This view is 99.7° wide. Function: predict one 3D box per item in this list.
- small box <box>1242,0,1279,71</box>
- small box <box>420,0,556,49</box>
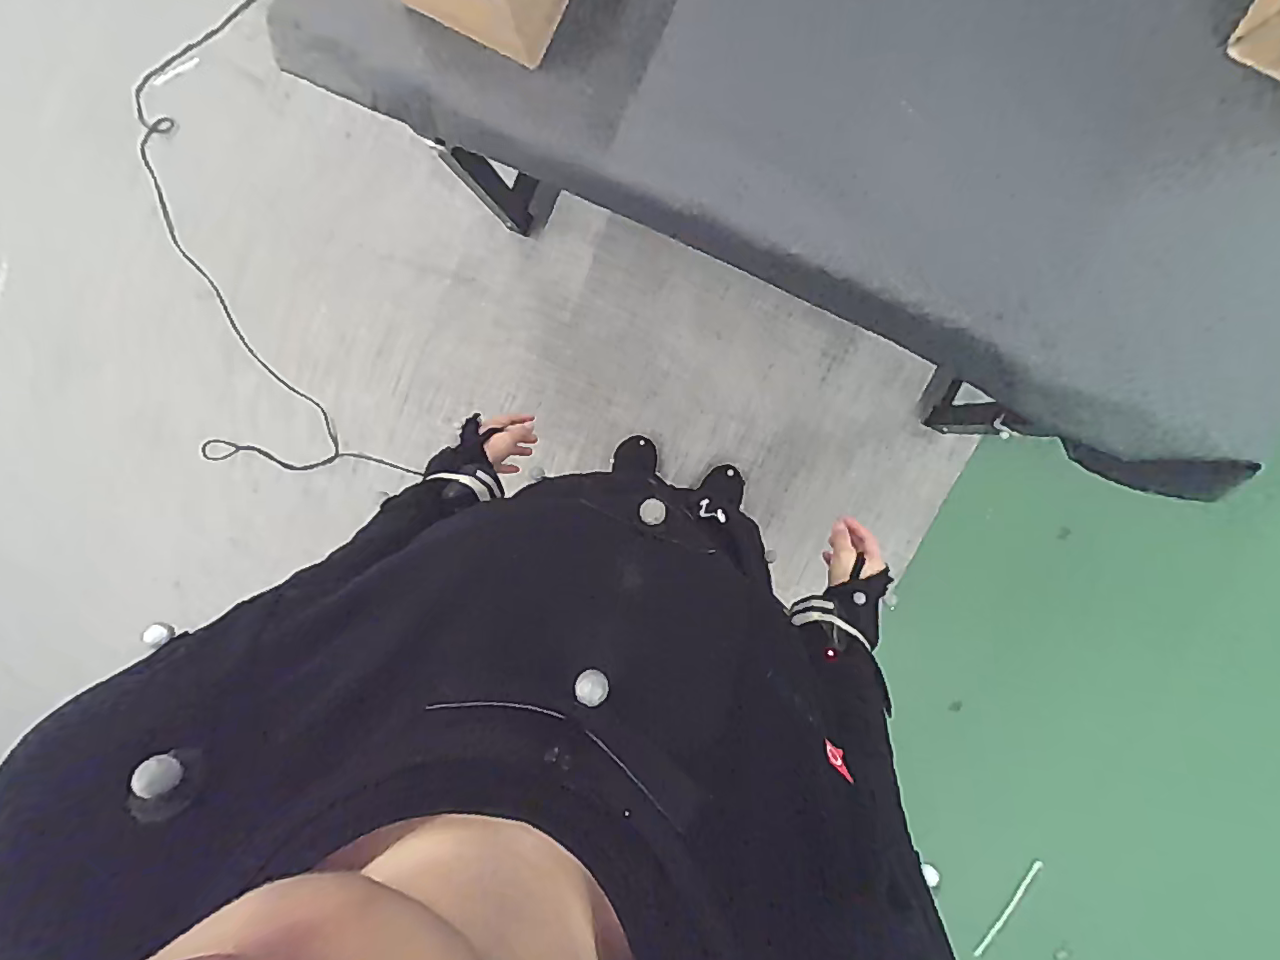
[{"bbox_3d":[0.684,-0.458,0.441,0.168,0.176,0.179,29,100,2],"label":"small box"},{"bbox_3d":[-0.157,-0.560,0.504,0.179,0.176,0.168,28,96,1],"label":"small box"}]
